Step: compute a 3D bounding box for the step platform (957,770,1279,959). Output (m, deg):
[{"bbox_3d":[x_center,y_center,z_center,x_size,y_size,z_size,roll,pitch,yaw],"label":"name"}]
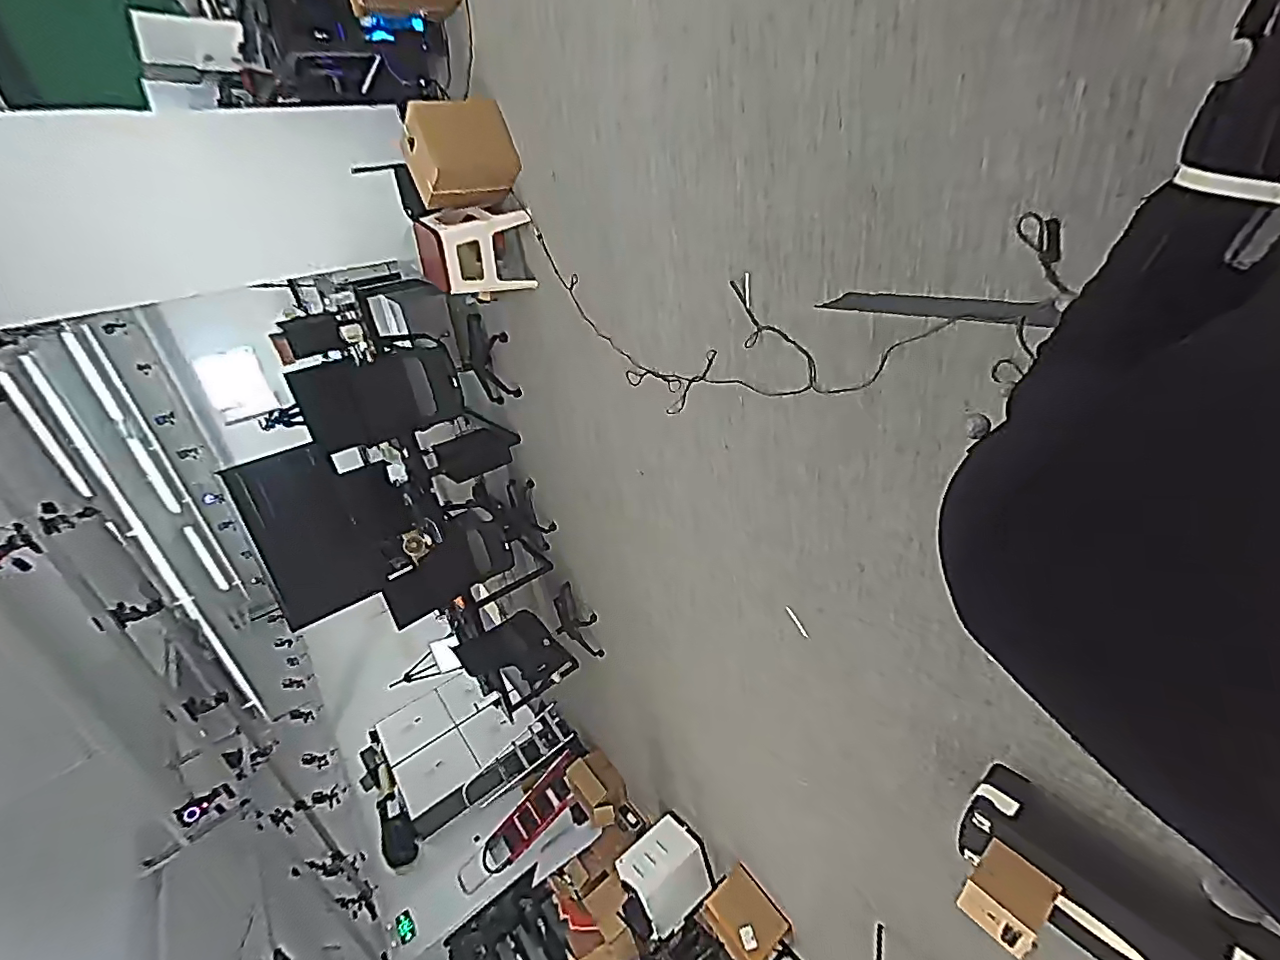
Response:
[{"bbox_3d":[1.278,1.171,1.512,0.684,0.204,0.286,25,133,47],"label":"step platform"}]
